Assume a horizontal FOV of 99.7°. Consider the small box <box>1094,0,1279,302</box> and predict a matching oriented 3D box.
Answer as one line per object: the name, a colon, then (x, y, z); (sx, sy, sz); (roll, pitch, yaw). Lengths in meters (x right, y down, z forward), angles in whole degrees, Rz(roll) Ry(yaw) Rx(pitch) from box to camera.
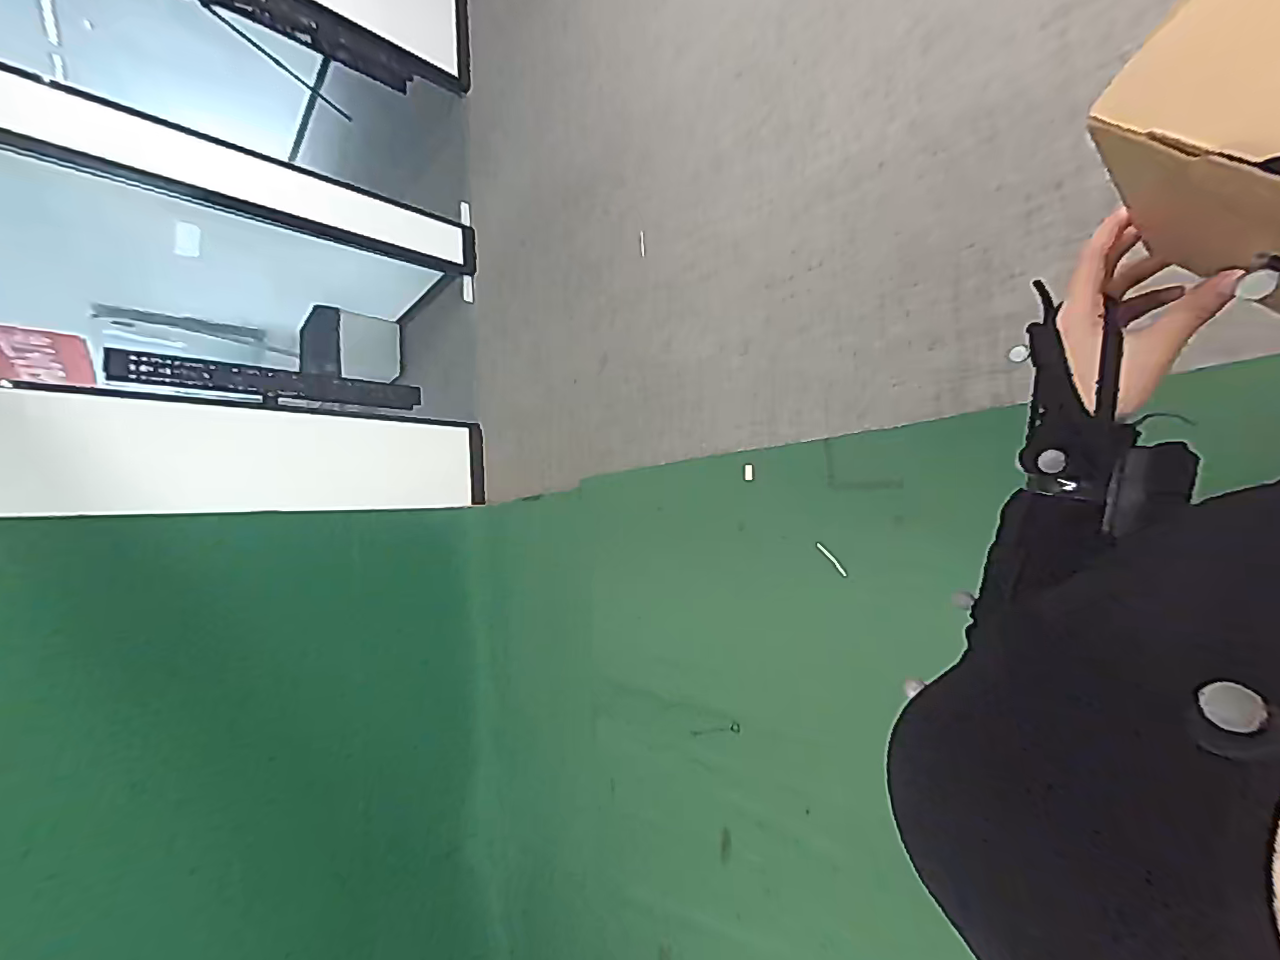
small box: (0.357, -0.165, 0.223); (0.179, 0.176, 0.168); (-55, 45, 29)
